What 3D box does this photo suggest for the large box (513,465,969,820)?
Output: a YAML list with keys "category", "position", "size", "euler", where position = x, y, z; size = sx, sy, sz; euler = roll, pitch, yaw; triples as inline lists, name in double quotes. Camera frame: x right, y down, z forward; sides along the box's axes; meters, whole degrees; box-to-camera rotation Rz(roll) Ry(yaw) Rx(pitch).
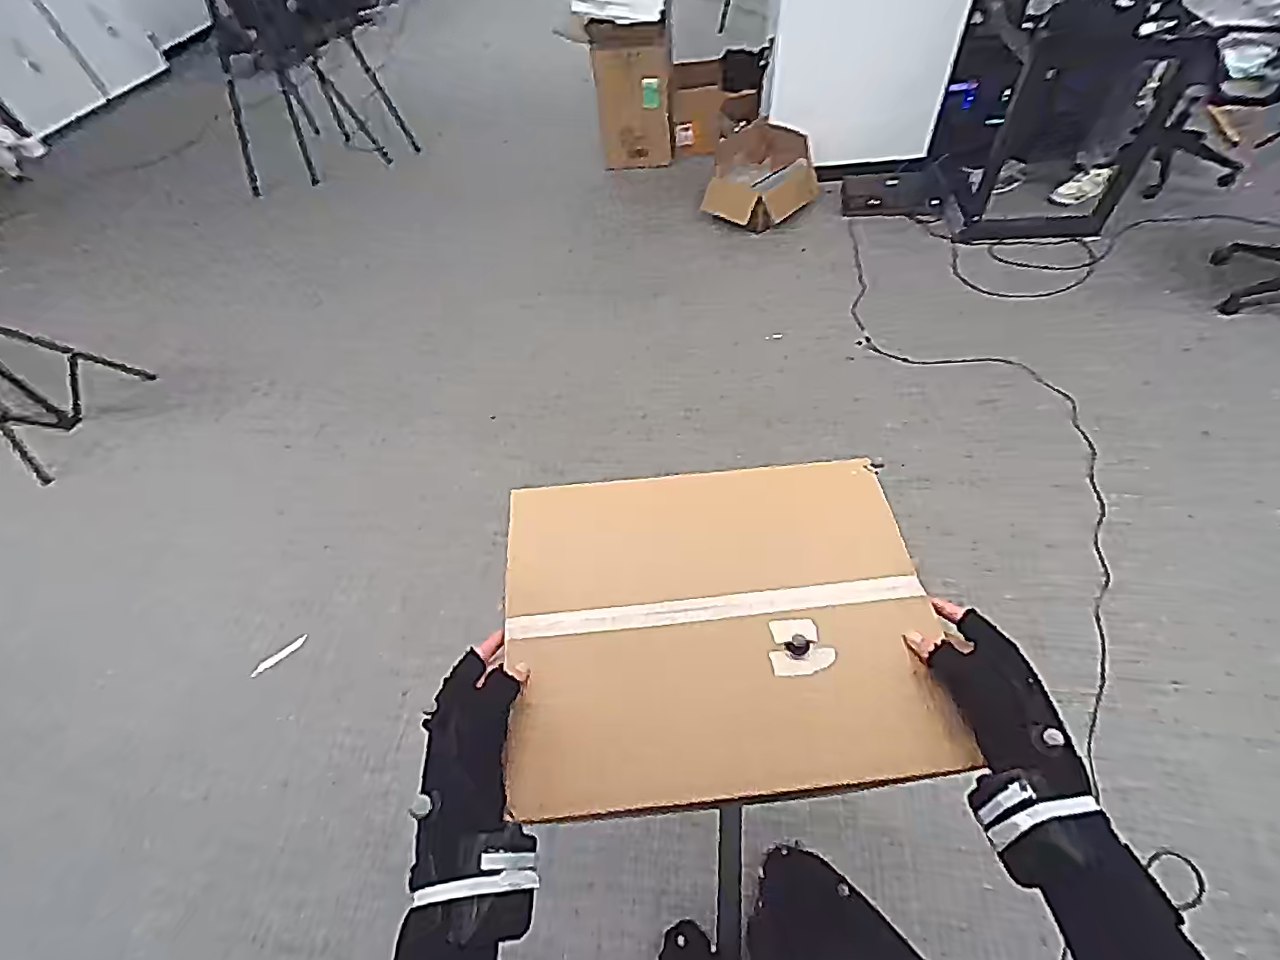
- category: "large box"
  position: [0.077, 0.209, 0.662]
  size: [0.408, 0.320, 0.320]
  euler: [-5, 57, -2]
